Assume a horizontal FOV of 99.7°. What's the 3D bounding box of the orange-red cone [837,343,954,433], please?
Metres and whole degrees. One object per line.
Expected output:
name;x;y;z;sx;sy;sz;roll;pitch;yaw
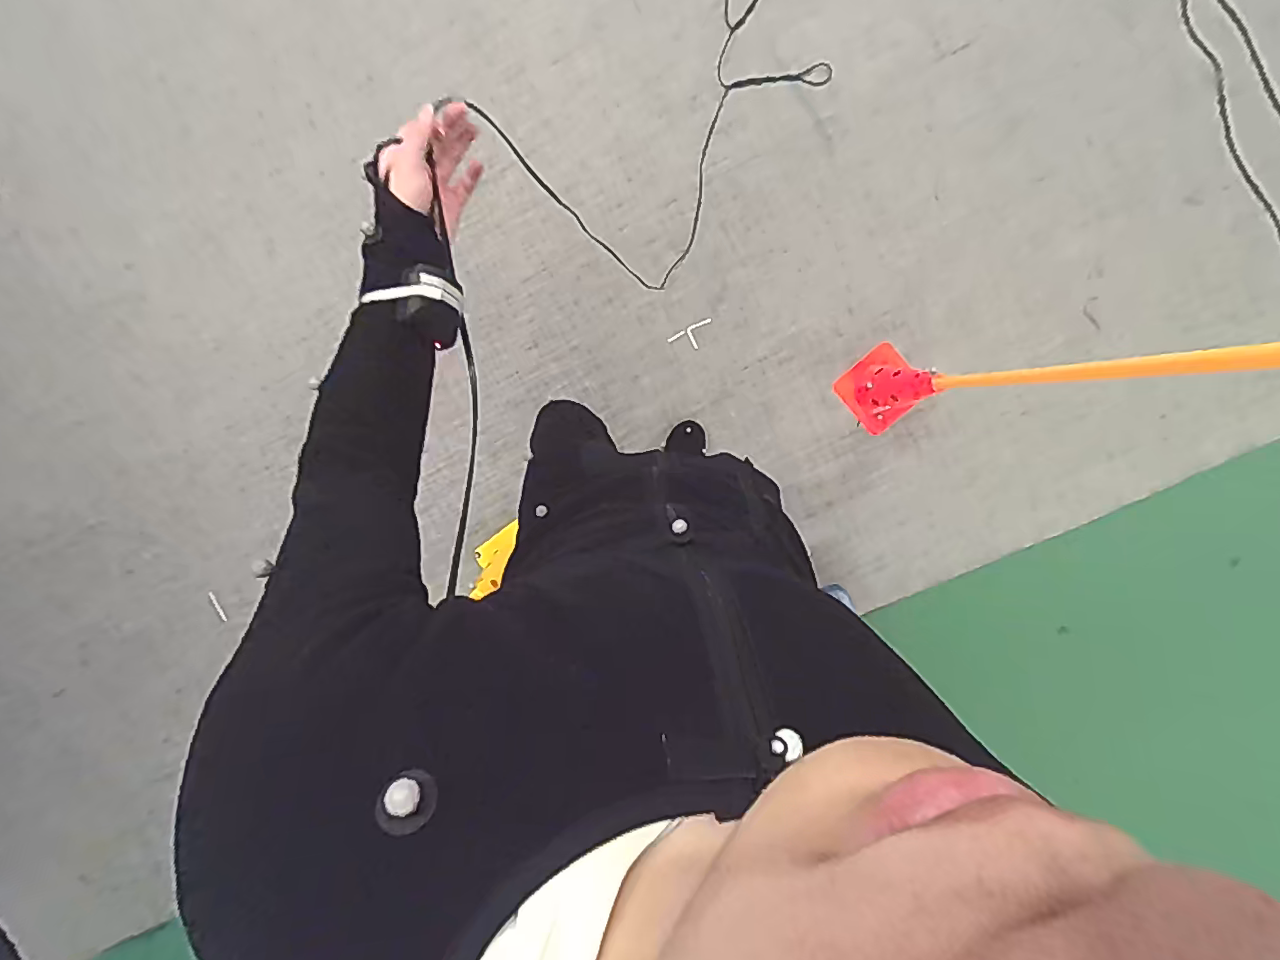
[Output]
orange-red cone;0.677;-0.238;1.356;0.199;0.360;0.198;-40;94;6
